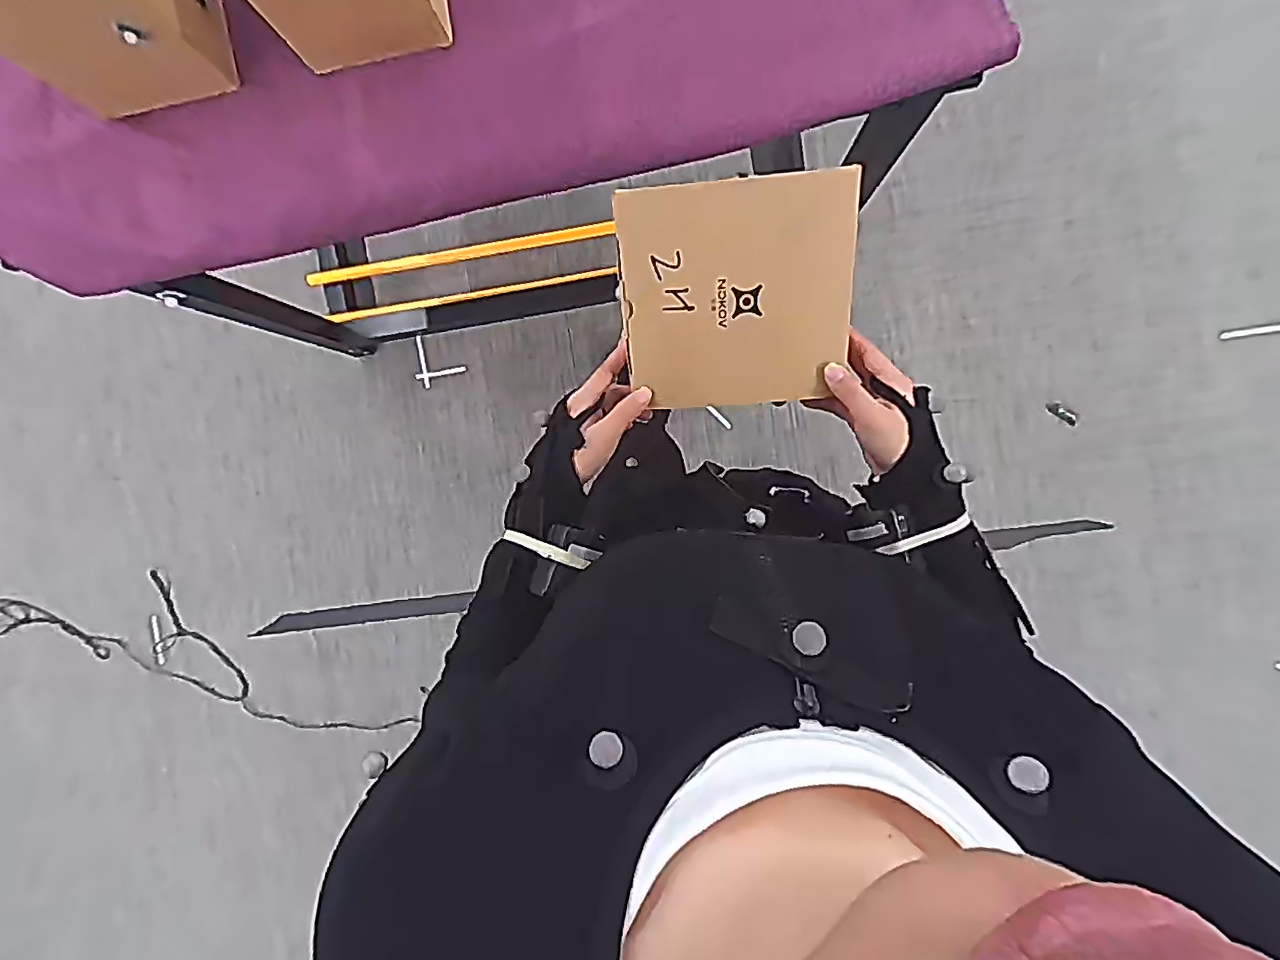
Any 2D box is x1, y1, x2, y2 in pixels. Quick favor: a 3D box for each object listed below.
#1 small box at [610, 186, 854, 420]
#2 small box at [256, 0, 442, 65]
[{"bbox_3d":[0.075,-0.163,0.489,0.179,0.176,0.168,-3,114,6],"label":"small box"},{"bbox_3d":[-0.330,-0.596,0.578,0.179,0.176,0.168,-9,91,5],"label":"small box"}]
